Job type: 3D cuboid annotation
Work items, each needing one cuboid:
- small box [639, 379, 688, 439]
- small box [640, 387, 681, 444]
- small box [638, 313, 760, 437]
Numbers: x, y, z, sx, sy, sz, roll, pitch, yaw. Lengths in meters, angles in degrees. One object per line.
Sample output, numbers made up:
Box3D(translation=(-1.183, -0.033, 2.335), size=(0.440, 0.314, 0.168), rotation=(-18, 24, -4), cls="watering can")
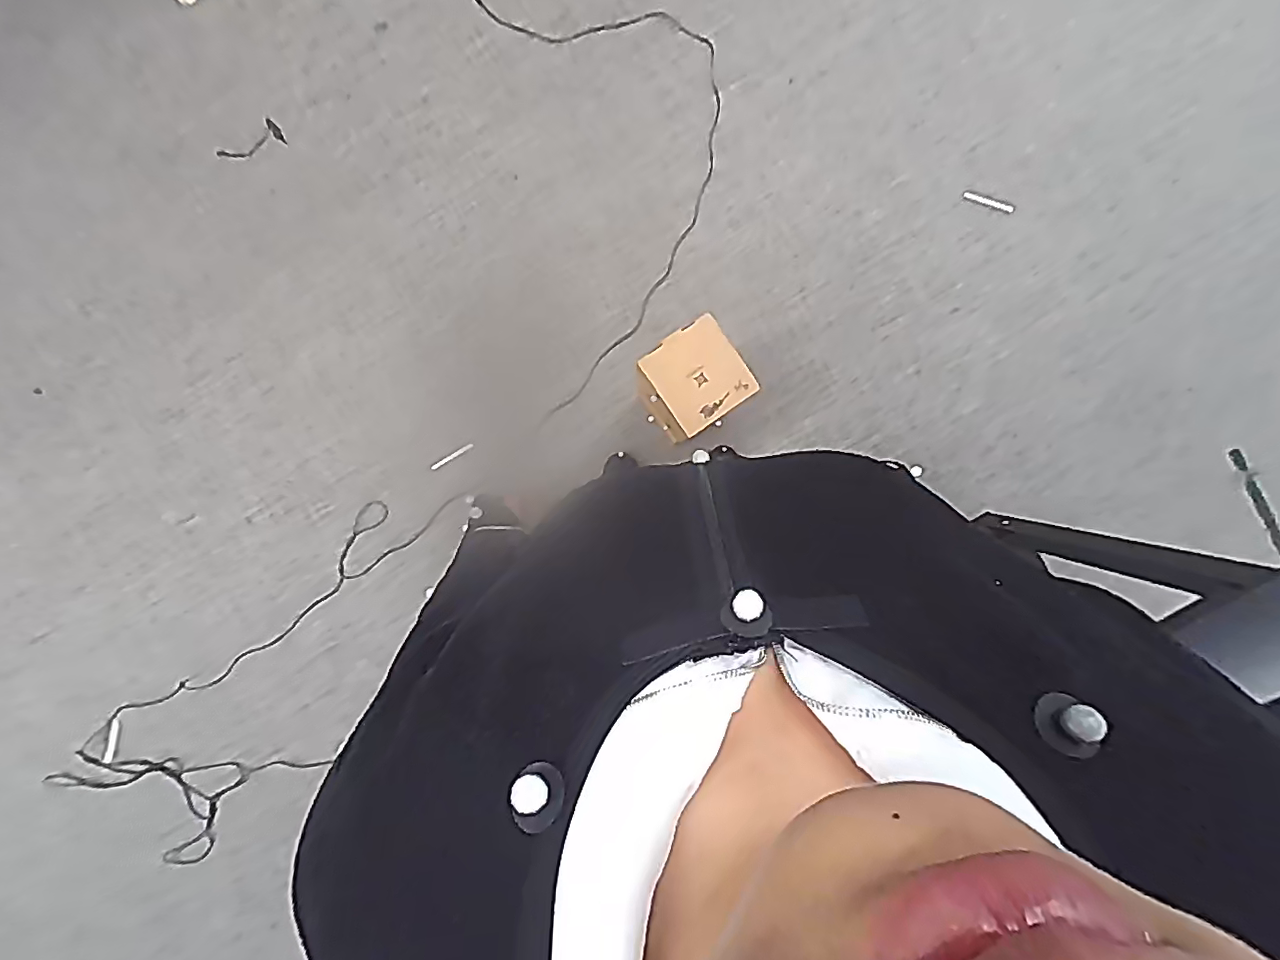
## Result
Box3D(translation=(0.115, -0.206, 1.248), size=(0.179, 0.176, 0.168), rotation=(-38, 93, 1), cls="small box")
Box3D(translation=(0.113, -0.210, 1.410), size=(0.179, 0.176, 0.168), rotation=(-34, 92, 3), cls="small box")
Box3D(translation=(0.110, -0.199, 1.084), size=(0.168, 0.176, 0.179), rotation=(-35, 92, 2), cls="small box")
